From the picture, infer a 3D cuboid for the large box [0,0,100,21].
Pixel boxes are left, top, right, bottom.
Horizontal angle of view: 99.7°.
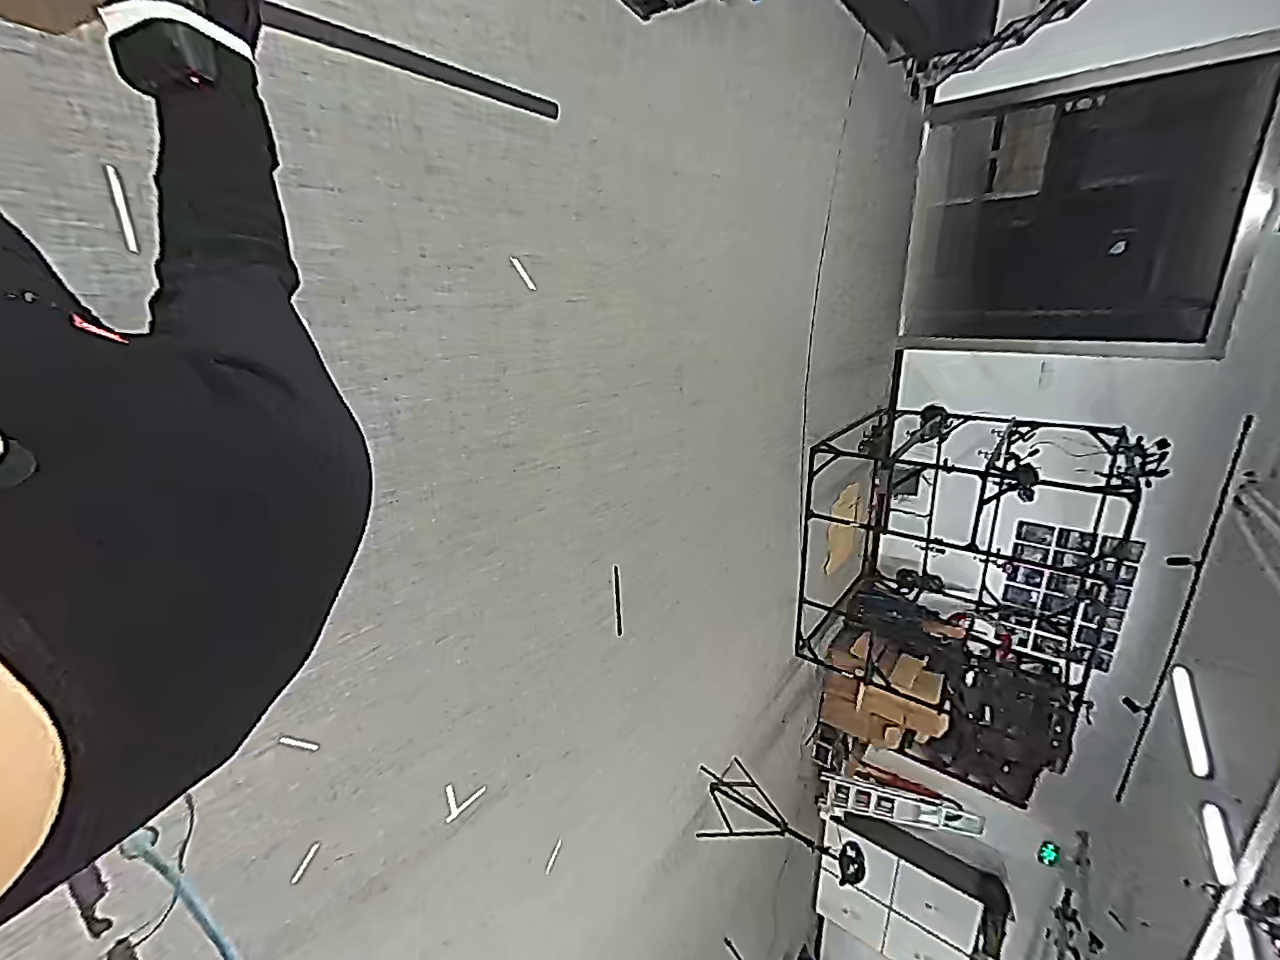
[{"bbox_3d":[-0.547,-0.496,0.245,0.408,0.320,0.320,-18,125,-52],"label":"large box"}]
